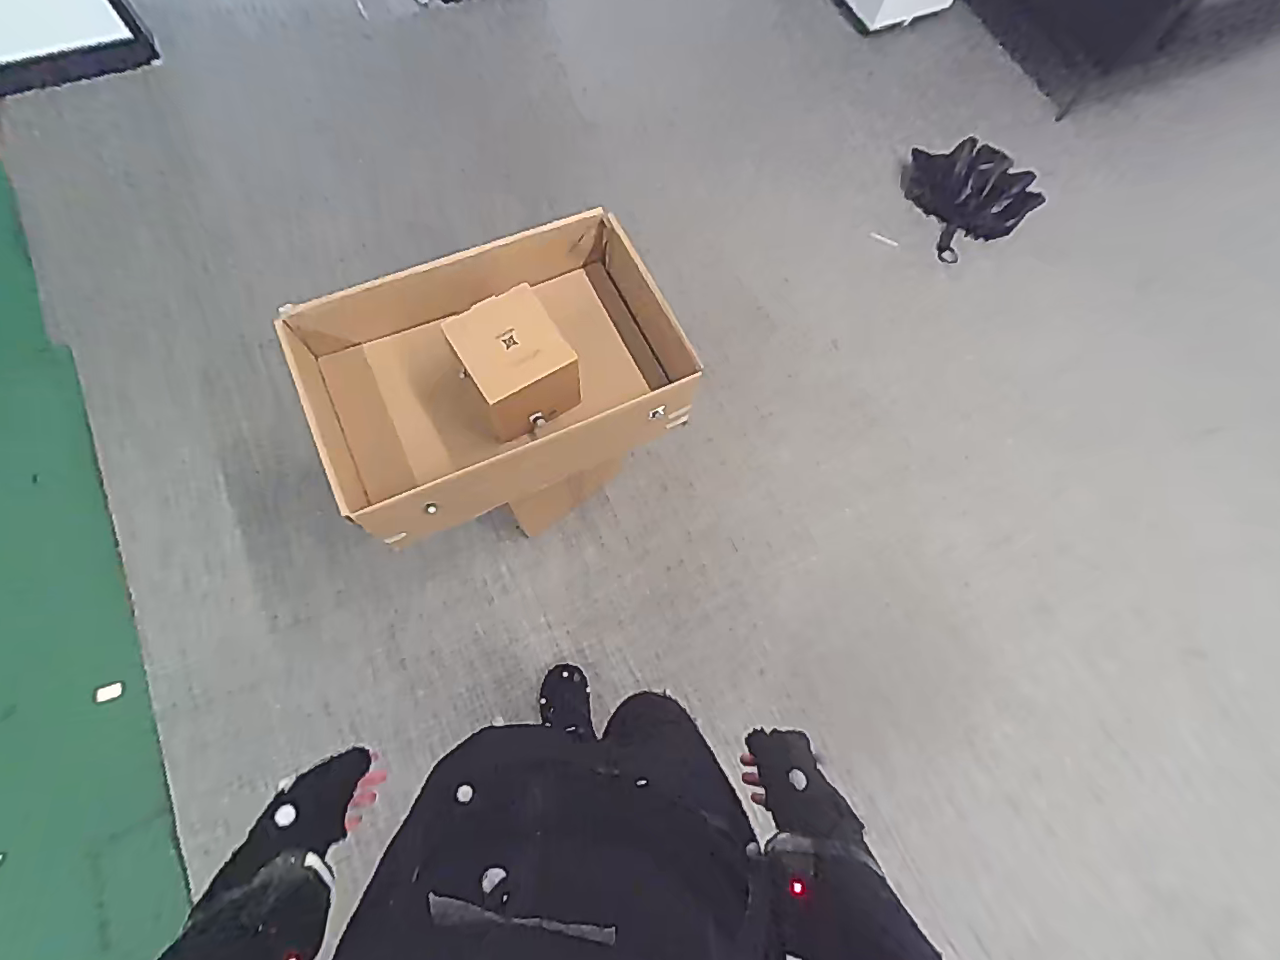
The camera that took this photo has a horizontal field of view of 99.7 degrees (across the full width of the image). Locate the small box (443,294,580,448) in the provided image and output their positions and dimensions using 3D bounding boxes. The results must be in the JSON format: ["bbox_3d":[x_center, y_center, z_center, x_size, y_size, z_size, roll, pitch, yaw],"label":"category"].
[{"bbox_3d":[-0.221,-0.188,0.966,0.168,0.176,0.179,-31,77,-13],"label":"small box"}]
